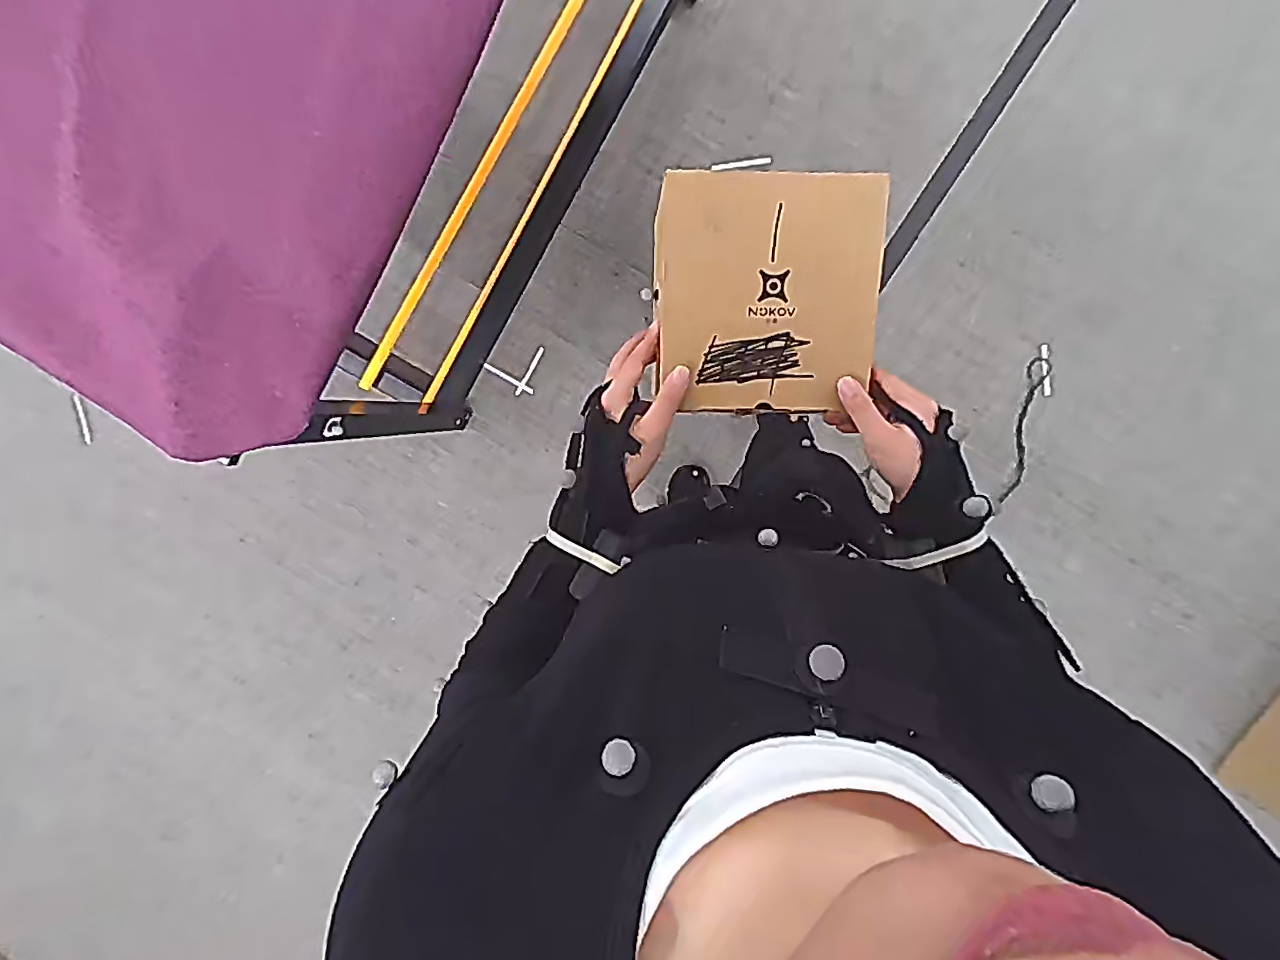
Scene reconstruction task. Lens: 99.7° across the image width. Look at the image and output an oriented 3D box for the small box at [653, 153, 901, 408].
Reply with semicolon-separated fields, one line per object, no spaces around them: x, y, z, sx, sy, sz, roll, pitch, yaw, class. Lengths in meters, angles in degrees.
0.099;-0.160;0.474;0.168;0.176;0.179;0;103;-2;small box
